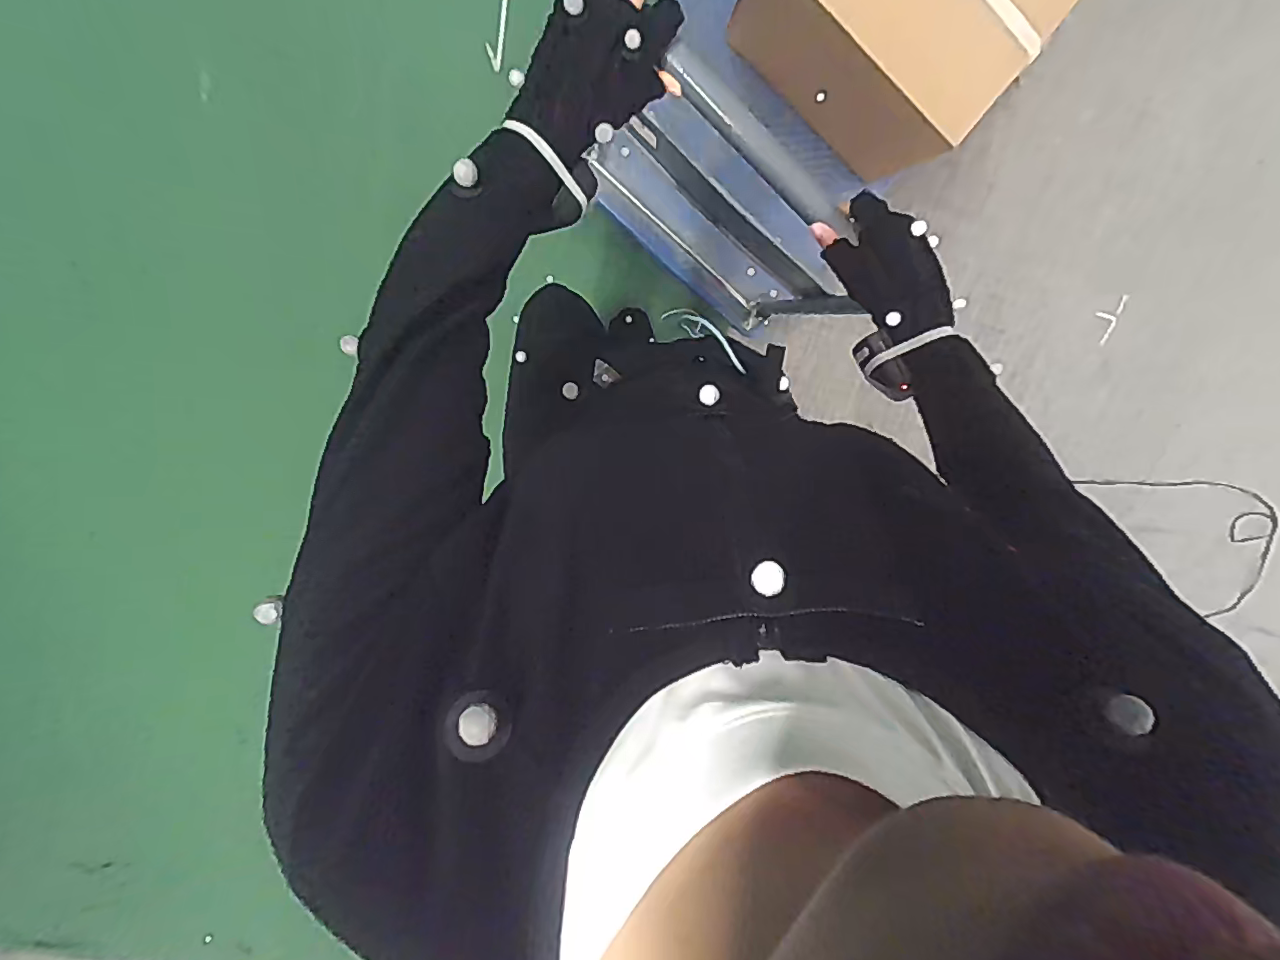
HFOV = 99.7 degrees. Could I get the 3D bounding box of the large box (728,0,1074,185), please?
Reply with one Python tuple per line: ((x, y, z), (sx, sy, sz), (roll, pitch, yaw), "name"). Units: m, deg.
((0.414, -0.783, 0.903), (0.408, 0.320, 0.320), (36, 103, -12), "large box")
